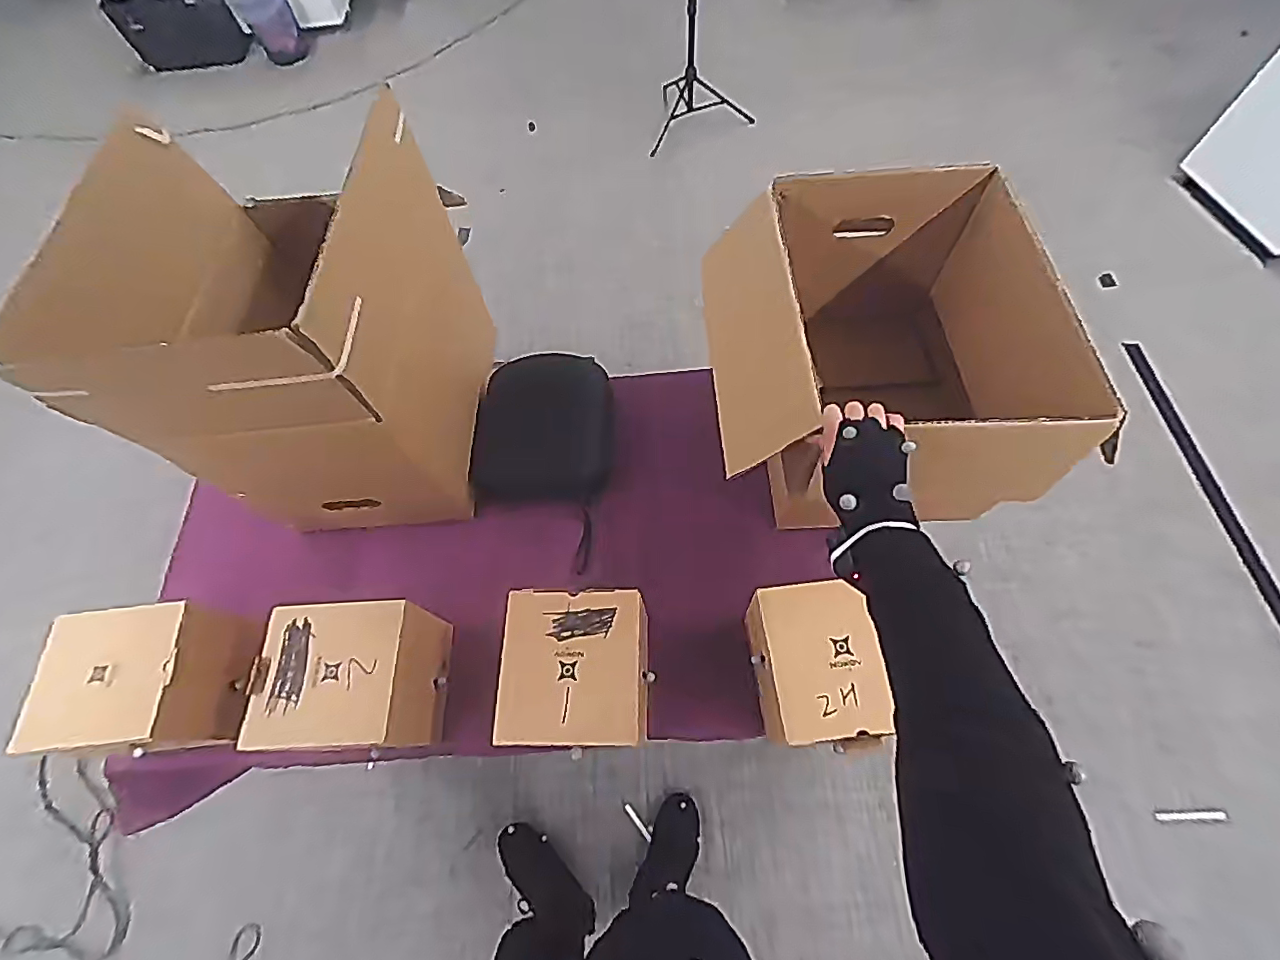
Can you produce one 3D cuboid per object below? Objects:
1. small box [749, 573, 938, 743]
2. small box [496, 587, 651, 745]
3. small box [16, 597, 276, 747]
[{"bbox_3d":[0.238,0.232,0.688,0.168,0.176,0.179,-7,64,3],"label":"small box"},{"bbox_3d":[-0.074,0.247,0.707,0.168,0.176,0.179,-1,65,4],"label":"small box"},{"bbox_3d":[-0.653,0.269,0.744,0.179,0.176,0.168,-6,64,0],"label":"small box"}]
